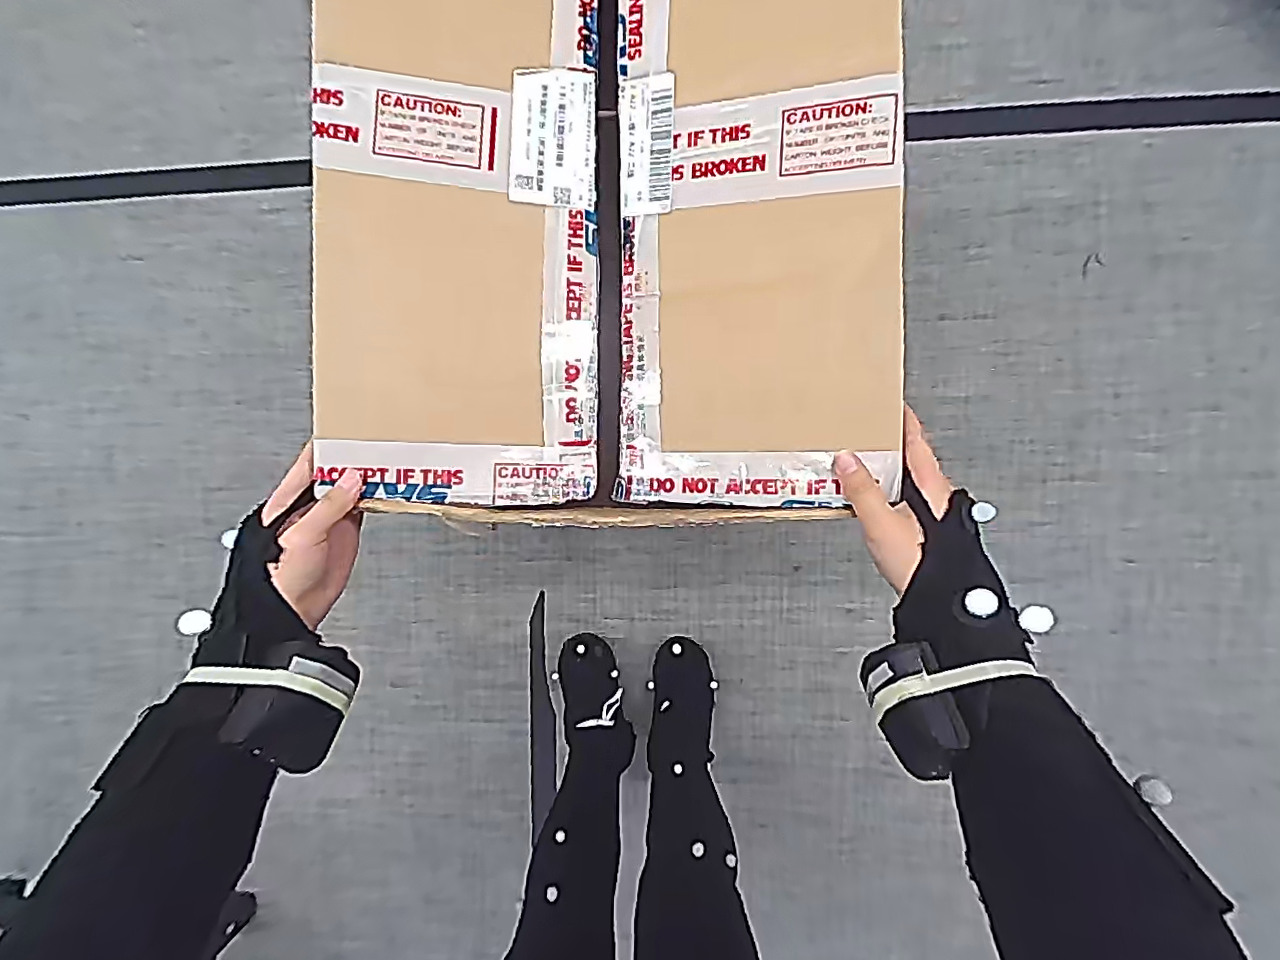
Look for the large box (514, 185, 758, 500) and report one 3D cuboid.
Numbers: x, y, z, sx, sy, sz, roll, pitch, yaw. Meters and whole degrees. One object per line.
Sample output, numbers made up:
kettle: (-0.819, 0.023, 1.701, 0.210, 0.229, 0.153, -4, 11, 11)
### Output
large box: (0.003, -0.185, 0.861, 0.320, 0.320, 0.408, -2, 92, 4)
